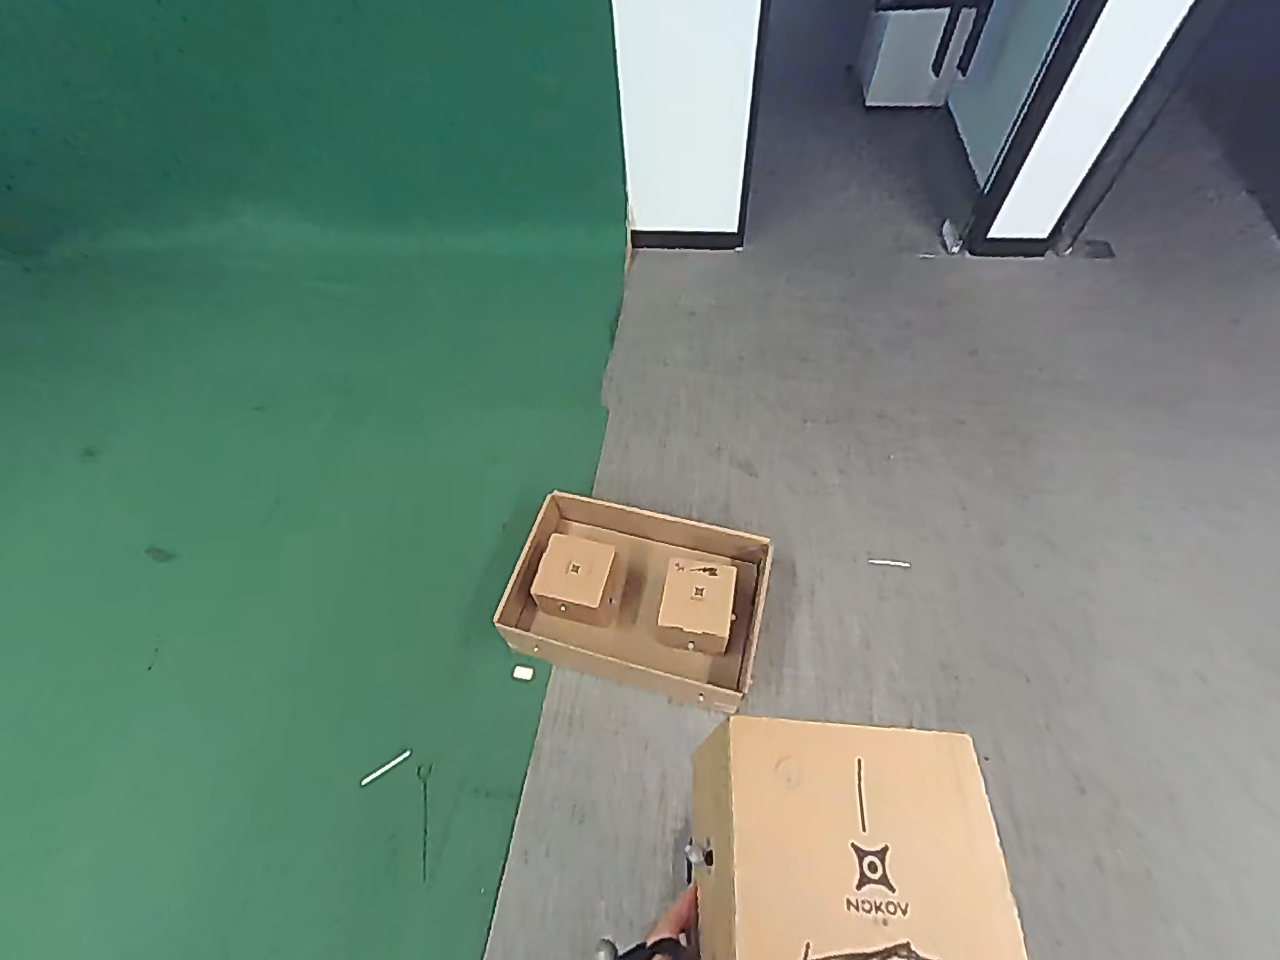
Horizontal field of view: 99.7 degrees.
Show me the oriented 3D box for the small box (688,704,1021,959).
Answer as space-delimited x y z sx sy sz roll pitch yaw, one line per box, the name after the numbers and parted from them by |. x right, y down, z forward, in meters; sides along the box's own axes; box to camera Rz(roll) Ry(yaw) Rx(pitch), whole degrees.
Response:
0.126 0.273 0.381 0.168 0.176 0.179 5 55 0 | small box

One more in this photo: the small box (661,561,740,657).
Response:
0.152 0.322 1.335 0.168 0.176 0.179 8 59 10 | small box
